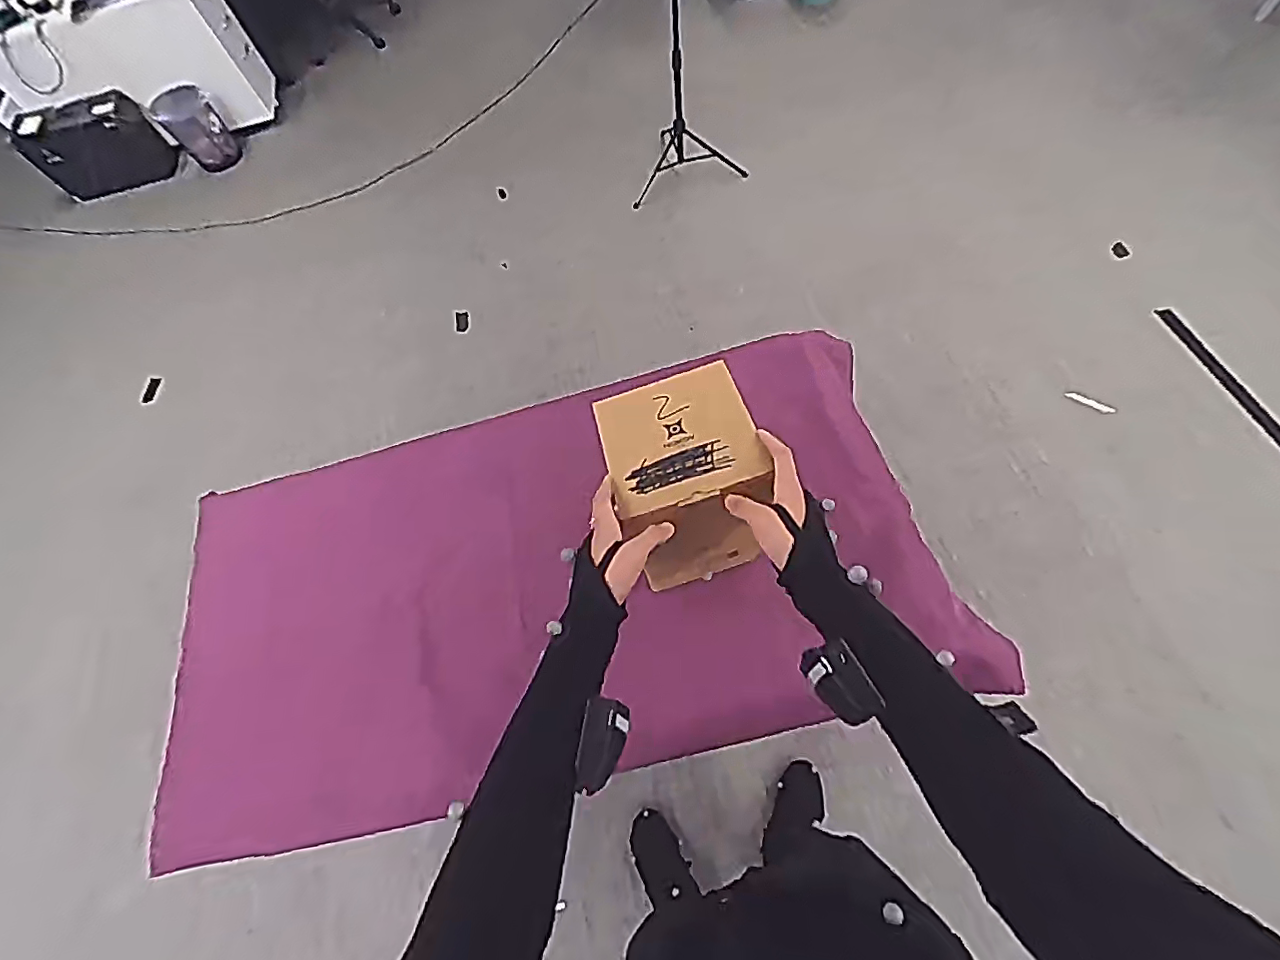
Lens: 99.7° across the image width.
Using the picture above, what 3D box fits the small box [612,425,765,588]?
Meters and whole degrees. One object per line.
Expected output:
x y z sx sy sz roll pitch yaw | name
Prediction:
0.070 0.047 0.821 0.179 0.176 0.168 -18 63 -2 | small box
